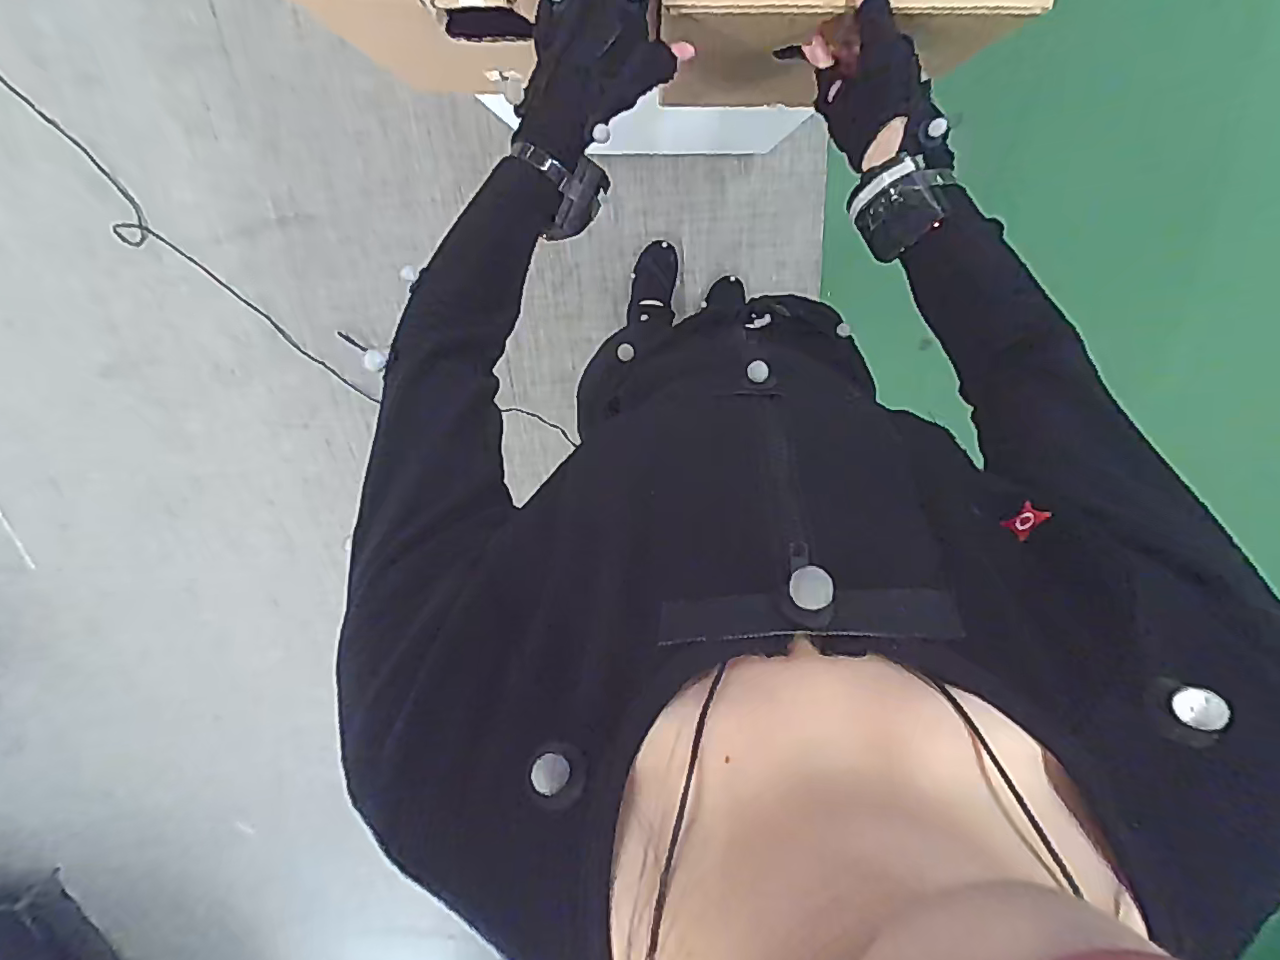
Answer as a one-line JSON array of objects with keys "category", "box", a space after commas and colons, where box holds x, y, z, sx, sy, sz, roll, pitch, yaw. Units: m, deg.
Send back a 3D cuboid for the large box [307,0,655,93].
[{"category": "large box", "box": [-0.142, -0.642, 0.503, 0.320, 0.320, 0.408, 1, 111, 0]}]
